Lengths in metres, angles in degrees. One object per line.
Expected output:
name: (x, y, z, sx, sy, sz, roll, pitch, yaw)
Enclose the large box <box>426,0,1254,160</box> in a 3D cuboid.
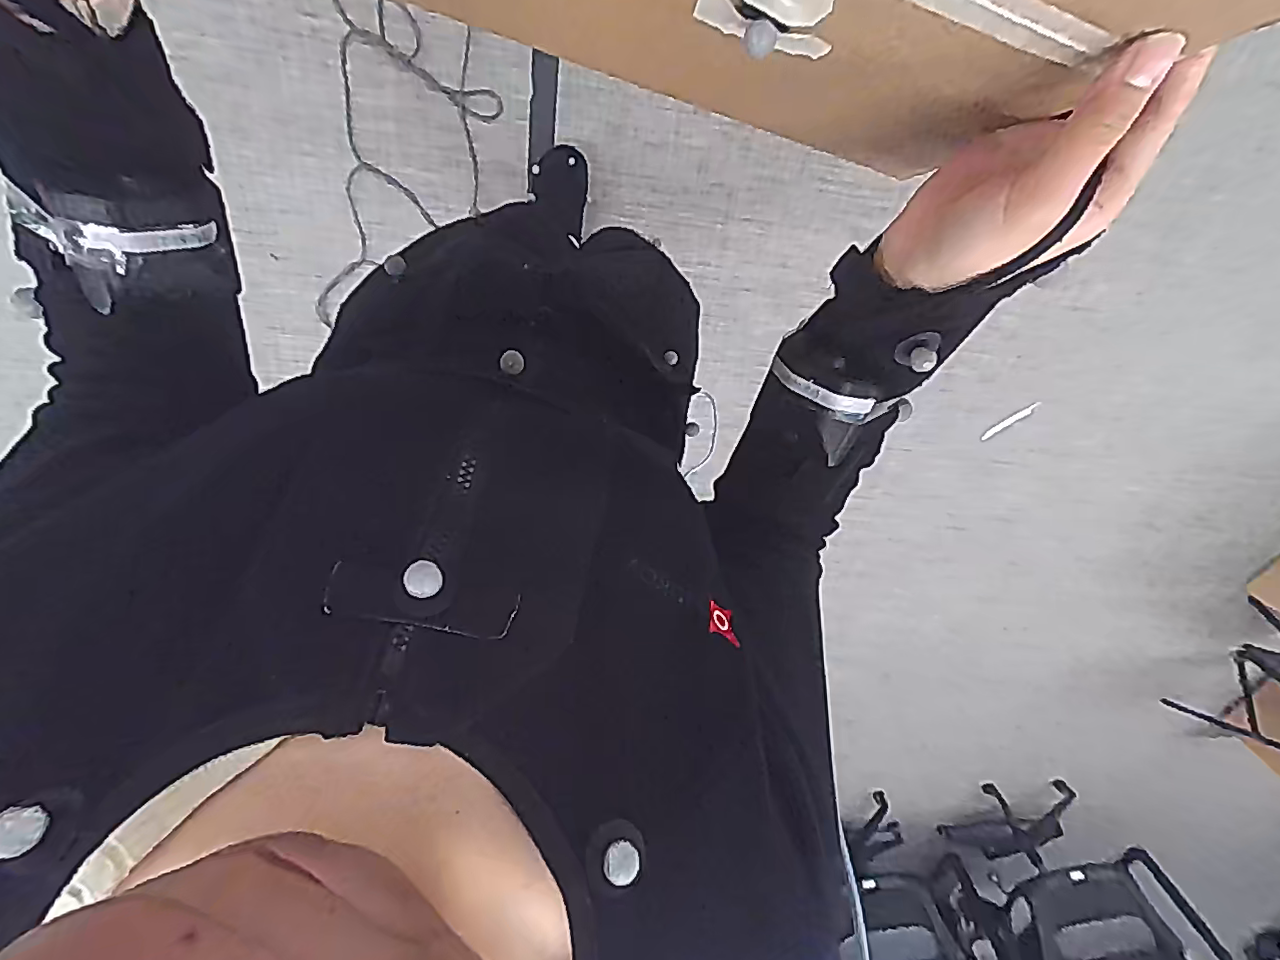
large box: (0.027, -0.339, 0.124, 0.408, 0.320, 0.320, 11, 105, -11)
